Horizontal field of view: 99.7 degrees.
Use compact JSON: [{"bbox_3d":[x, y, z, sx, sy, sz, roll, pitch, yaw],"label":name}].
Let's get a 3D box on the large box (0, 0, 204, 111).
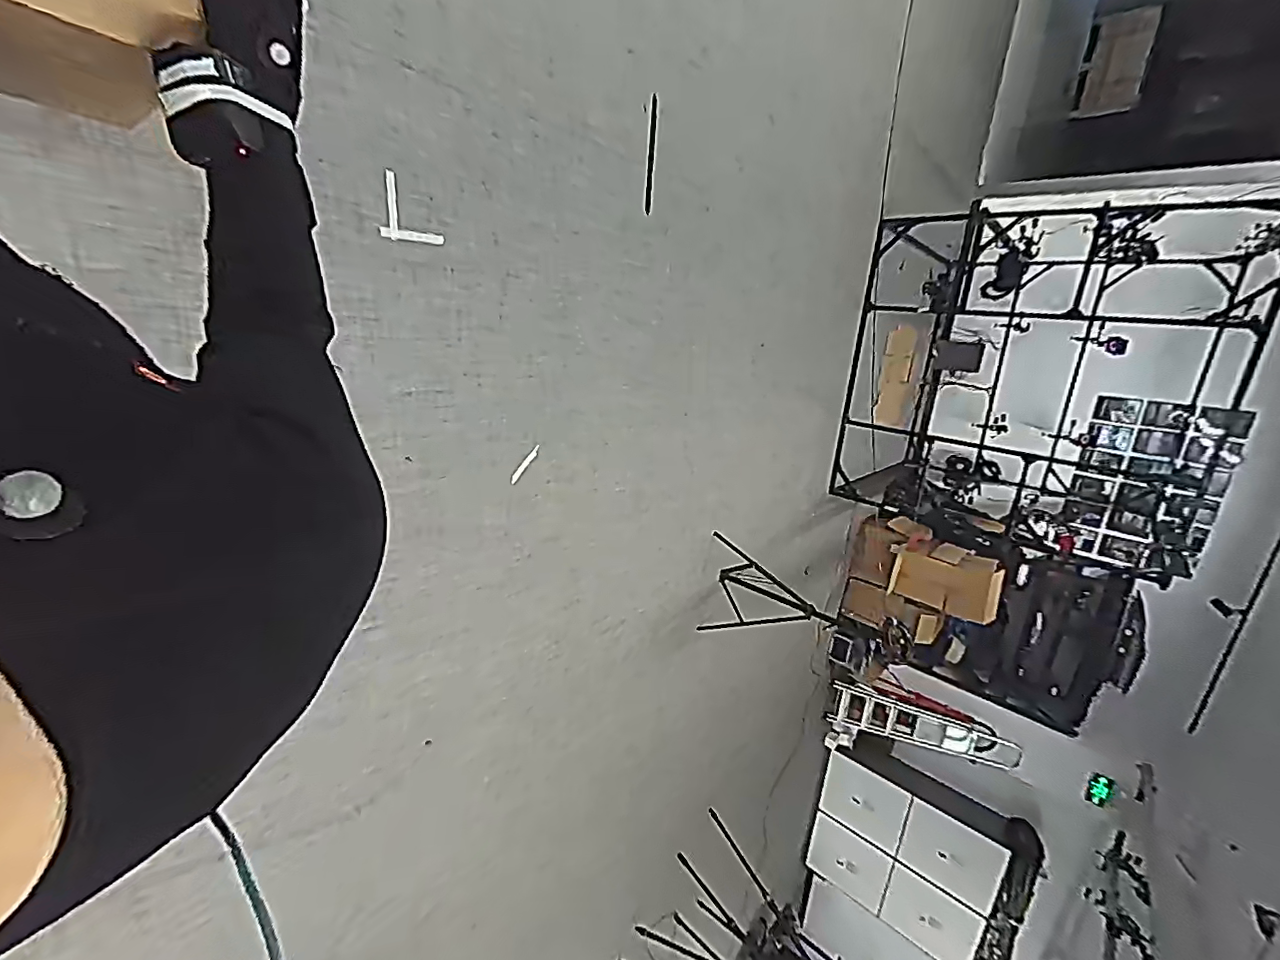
[{"bbox_3d":[-0.552,-0.476,0.306,0.408,0.320,0.320,-11,114,-50],"label":"large box"}]
